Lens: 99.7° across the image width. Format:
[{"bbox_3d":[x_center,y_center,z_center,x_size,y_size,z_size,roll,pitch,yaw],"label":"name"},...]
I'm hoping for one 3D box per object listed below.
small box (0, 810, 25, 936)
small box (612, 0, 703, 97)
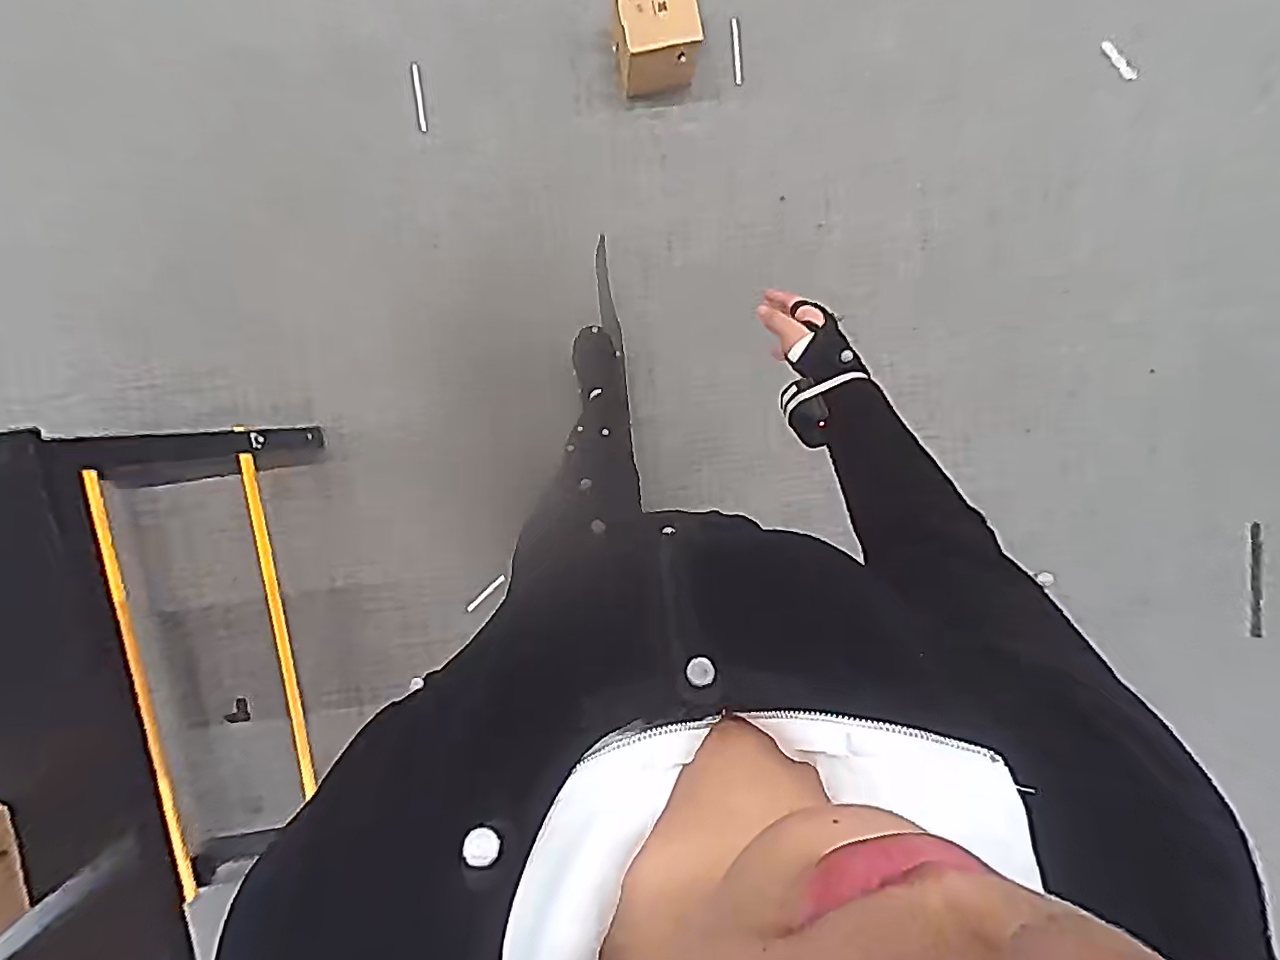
[{"bbox_3d":[-0.931,0.540,0.665,0.179,0.176,0.168,-5,97,-3],"label":"small box"},{"bbox_3d":[0.035,-1.048,1.275,0.179,0.176,0.168,-13,97,-2],"label":"small box"}]
